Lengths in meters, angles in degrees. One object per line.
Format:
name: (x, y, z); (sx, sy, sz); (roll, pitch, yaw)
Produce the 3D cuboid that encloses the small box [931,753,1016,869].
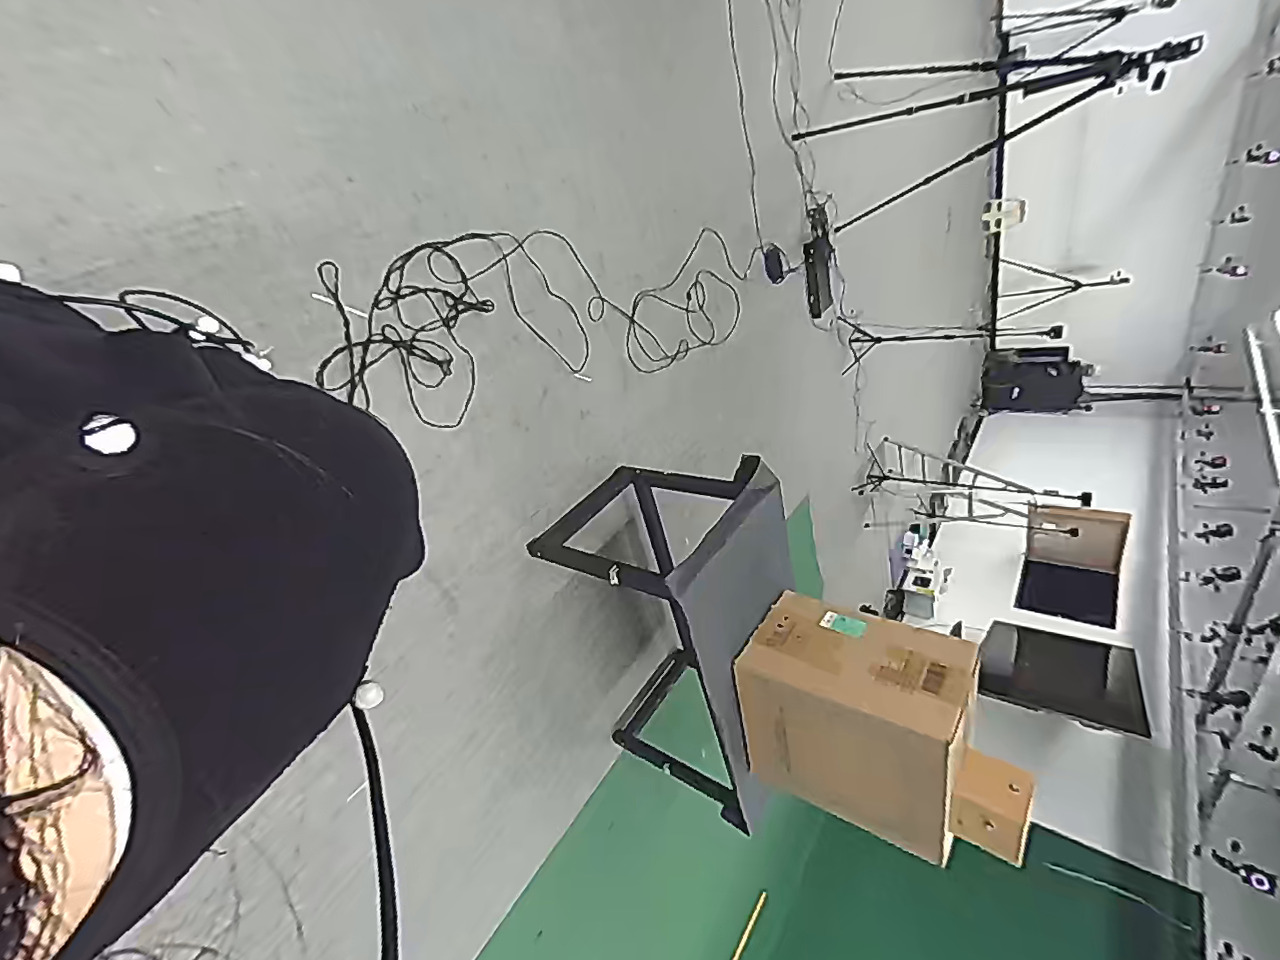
small box: (0.920, 0.907, 1.498); (0.179, 0.176, 0.168); (-30, 120, -43)
